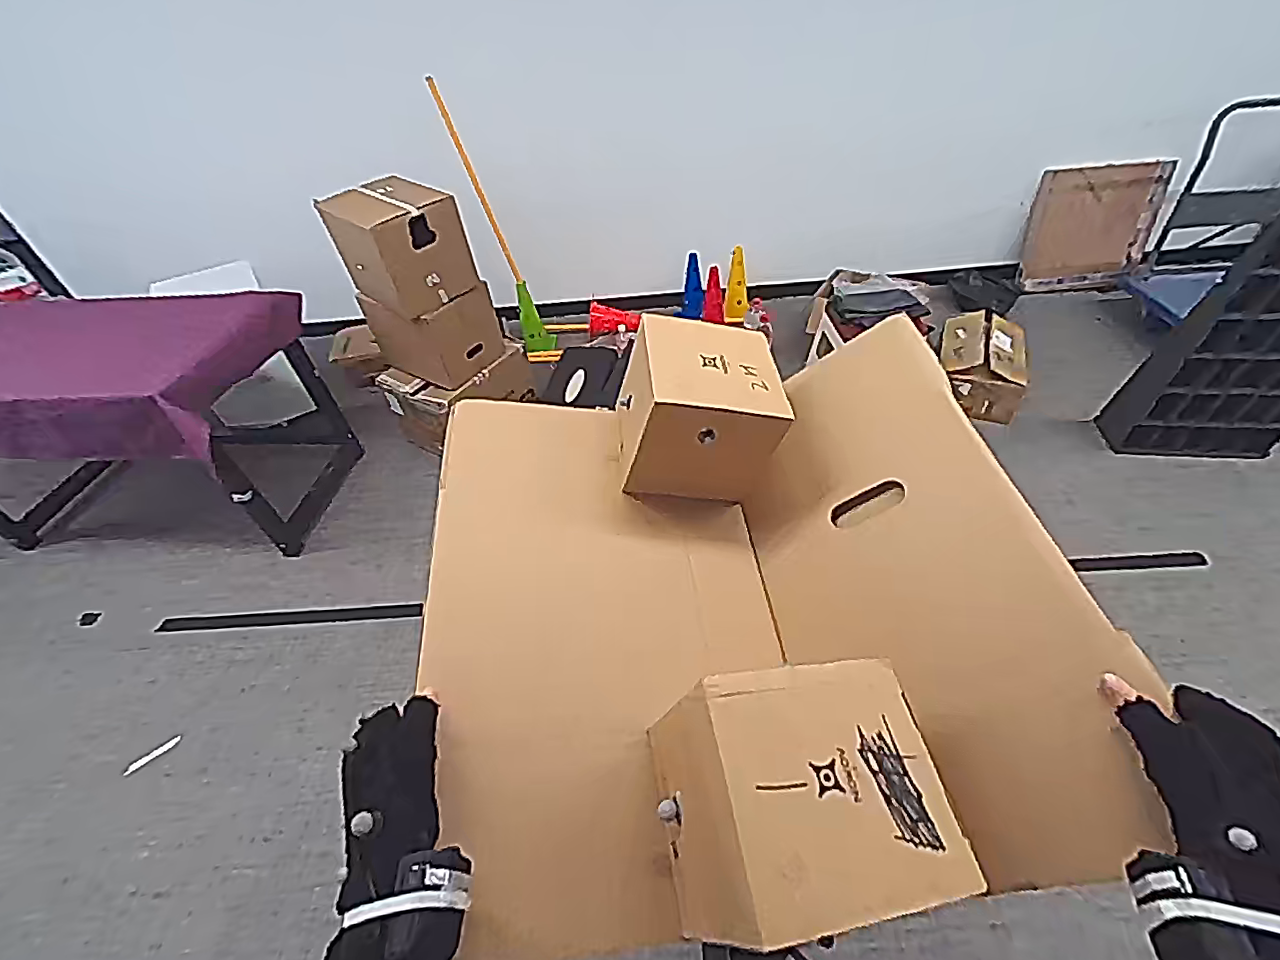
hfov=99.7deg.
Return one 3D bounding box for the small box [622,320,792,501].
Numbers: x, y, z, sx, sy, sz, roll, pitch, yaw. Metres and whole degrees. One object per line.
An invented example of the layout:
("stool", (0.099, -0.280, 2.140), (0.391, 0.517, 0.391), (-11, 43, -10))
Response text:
("small box", (0.075, -0.087, 0.729), (0.179, 0.176, 0.168), (6, 51, -13))
